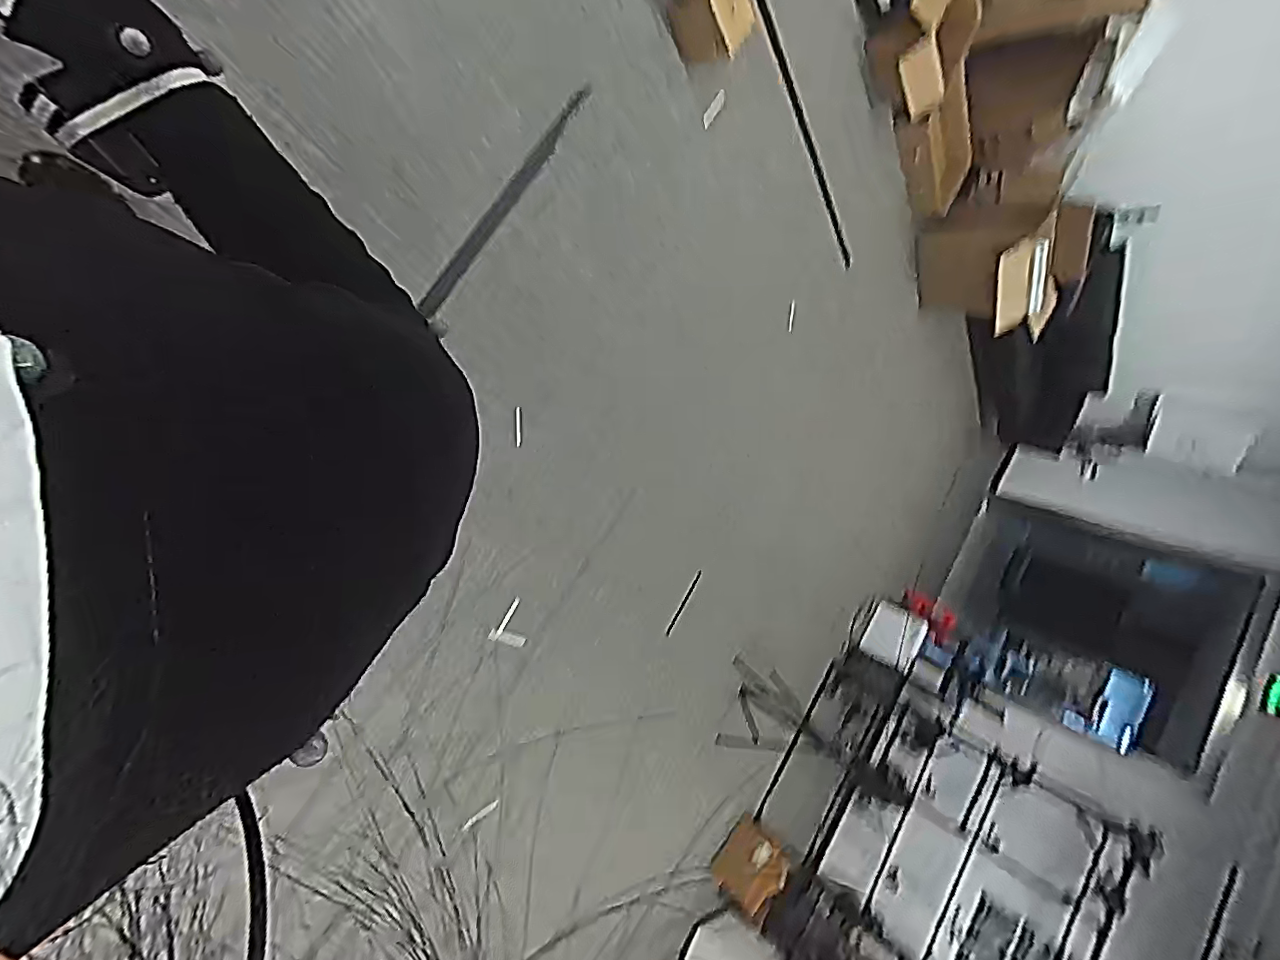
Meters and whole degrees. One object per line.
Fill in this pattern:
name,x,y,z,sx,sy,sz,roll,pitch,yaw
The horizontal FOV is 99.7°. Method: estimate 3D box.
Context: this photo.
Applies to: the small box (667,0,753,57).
small box,0.221,-1.486,1.709,0.179,0.176,0.168,38,79,-47
